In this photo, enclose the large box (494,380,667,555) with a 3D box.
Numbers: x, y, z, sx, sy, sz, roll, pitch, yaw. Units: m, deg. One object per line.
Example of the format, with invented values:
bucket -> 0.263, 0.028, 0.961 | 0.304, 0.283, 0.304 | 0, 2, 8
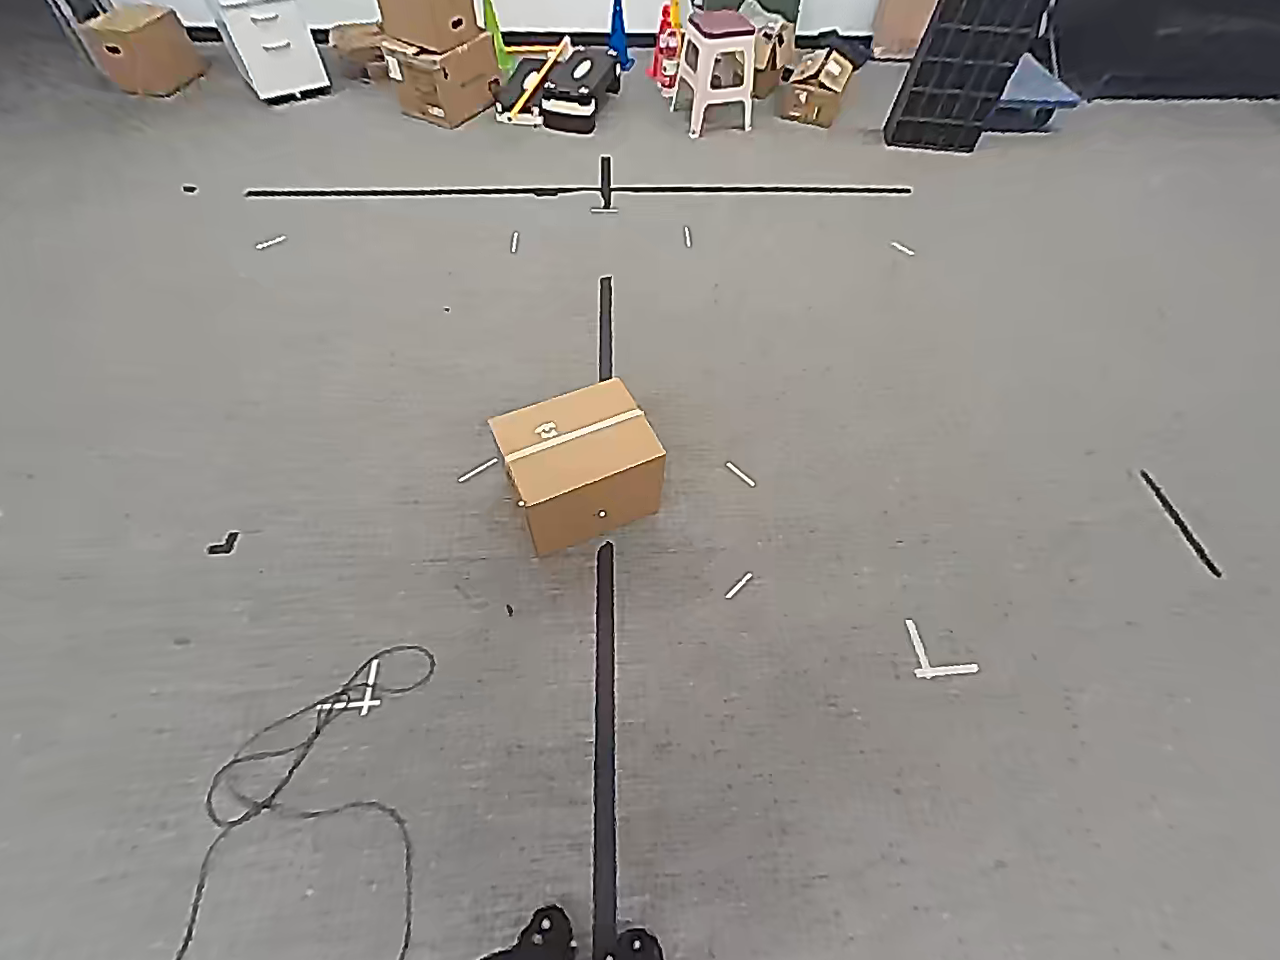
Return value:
large box -> -0.170, -0.034, 1.615 | 0.408, 0.320, 0.320 | -22, 60, -15
